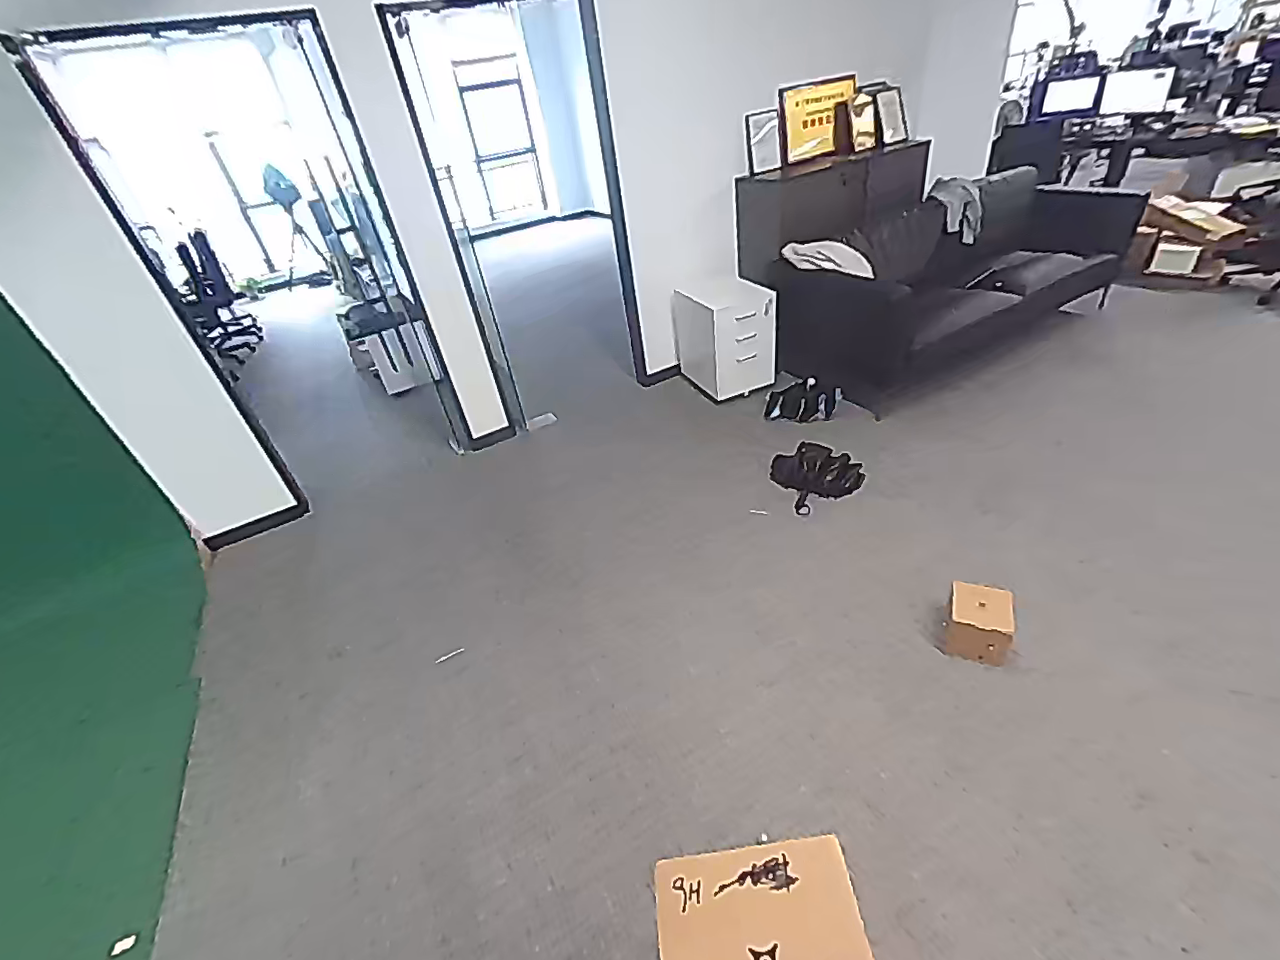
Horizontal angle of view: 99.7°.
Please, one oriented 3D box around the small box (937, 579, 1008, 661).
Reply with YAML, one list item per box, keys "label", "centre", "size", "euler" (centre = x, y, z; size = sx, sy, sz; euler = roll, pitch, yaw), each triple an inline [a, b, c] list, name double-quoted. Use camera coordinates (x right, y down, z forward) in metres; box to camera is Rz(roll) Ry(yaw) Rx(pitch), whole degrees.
- label: "small box"
  centre: [1.072, 0.455, 1.752]
  size: [0.168, 0.176, 0.179]
  euler: [9, 38, 23]
